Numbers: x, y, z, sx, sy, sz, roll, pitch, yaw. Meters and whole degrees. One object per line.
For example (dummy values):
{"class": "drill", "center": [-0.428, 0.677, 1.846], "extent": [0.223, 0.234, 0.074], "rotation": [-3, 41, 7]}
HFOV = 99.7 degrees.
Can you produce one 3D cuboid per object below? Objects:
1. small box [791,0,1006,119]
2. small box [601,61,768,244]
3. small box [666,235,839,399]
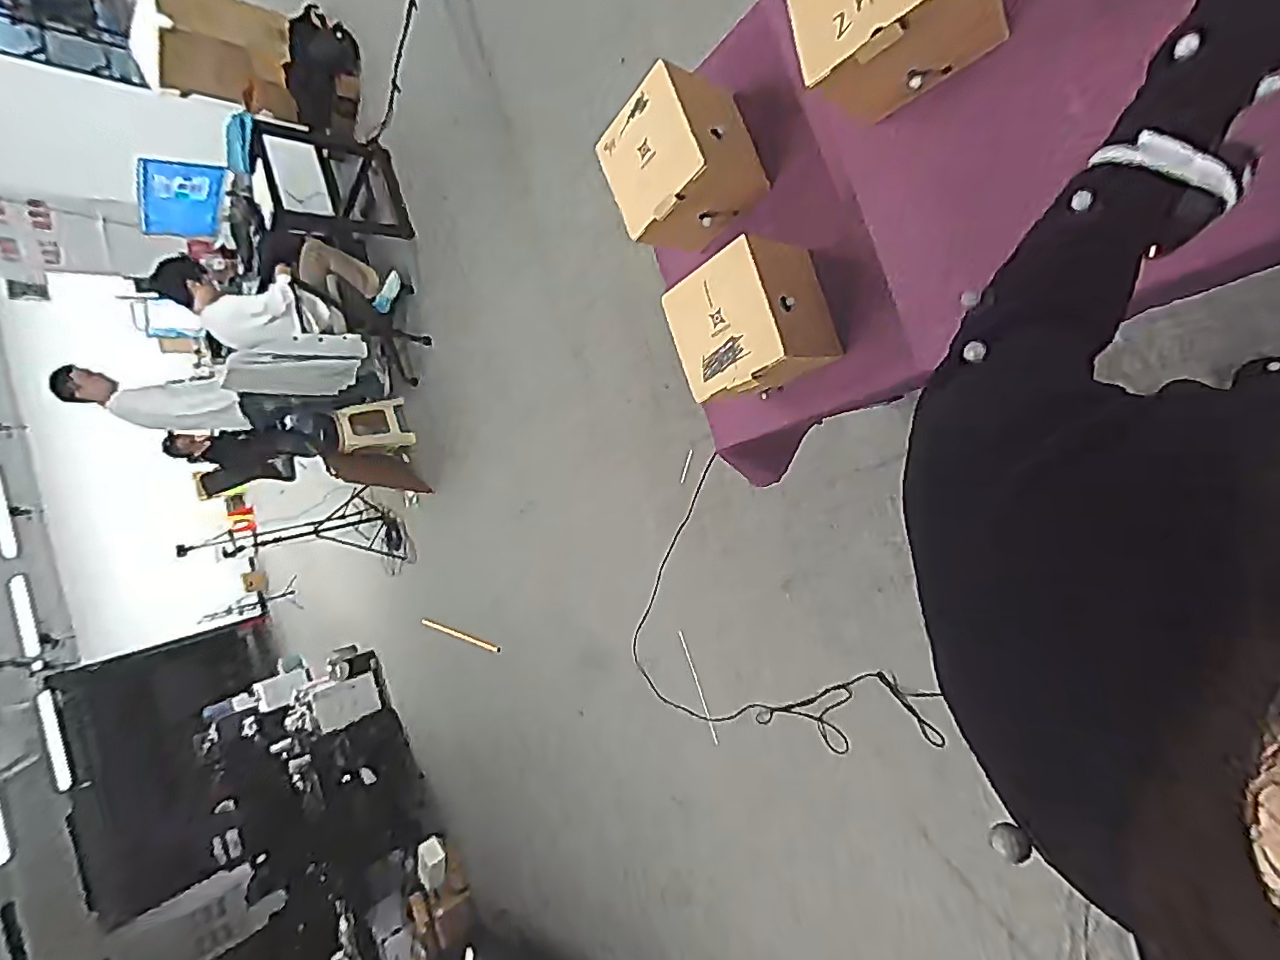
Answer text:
{"class": "small box", "center": [0.287, -0.557, 0.612], "extent": [0.168, 0.176, 0.179], "rotation": [-11, 93, 48]}
{"class": "small box", "center": [0.073, -0.495, 0.851], "extent": [0.168, 0.176, 0.179], "rotation": [-27, 82, 46]}
{"class": "small box", "center": [0.172, -0.236, 0.814], "extent": [0.168, 0.176, 0.179], "rotation": [-22, 82, 46]}
